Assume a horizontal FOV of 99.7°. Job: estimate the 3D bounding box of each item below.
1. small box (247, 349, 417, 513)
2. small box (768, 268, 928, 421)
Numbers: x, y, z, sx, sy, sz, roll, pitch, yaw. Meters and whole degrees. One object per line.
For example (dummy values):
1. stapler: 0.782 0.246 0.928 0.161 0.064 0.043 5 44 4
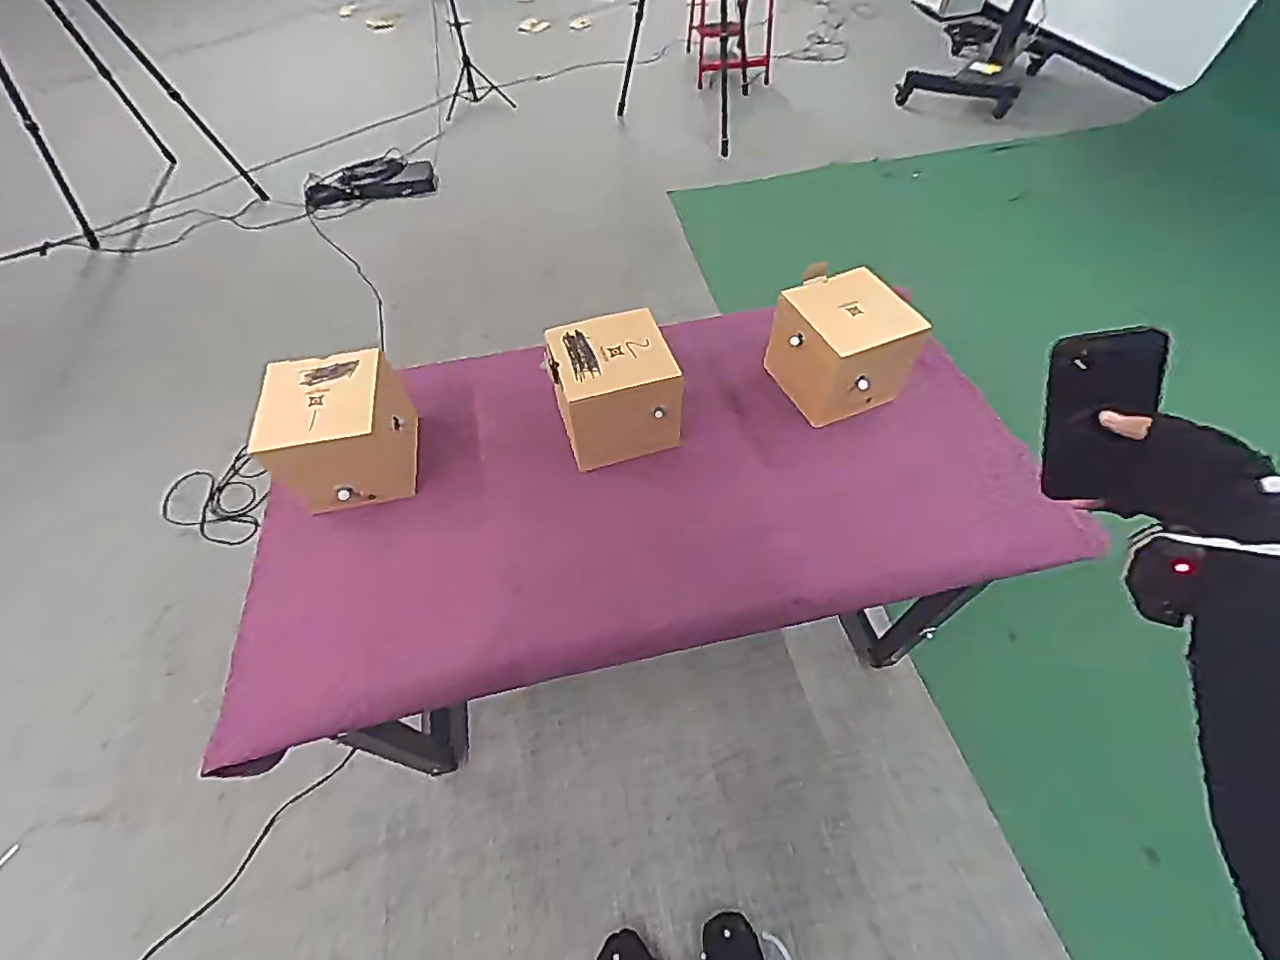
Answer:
1. small box: -0.458 -0.073 0.839 0.168 0.176 0.179 -10 57 -5
2. small box: 0.338 -0.222 0.919 0.168 0.176 0.179 -20 56 -11
